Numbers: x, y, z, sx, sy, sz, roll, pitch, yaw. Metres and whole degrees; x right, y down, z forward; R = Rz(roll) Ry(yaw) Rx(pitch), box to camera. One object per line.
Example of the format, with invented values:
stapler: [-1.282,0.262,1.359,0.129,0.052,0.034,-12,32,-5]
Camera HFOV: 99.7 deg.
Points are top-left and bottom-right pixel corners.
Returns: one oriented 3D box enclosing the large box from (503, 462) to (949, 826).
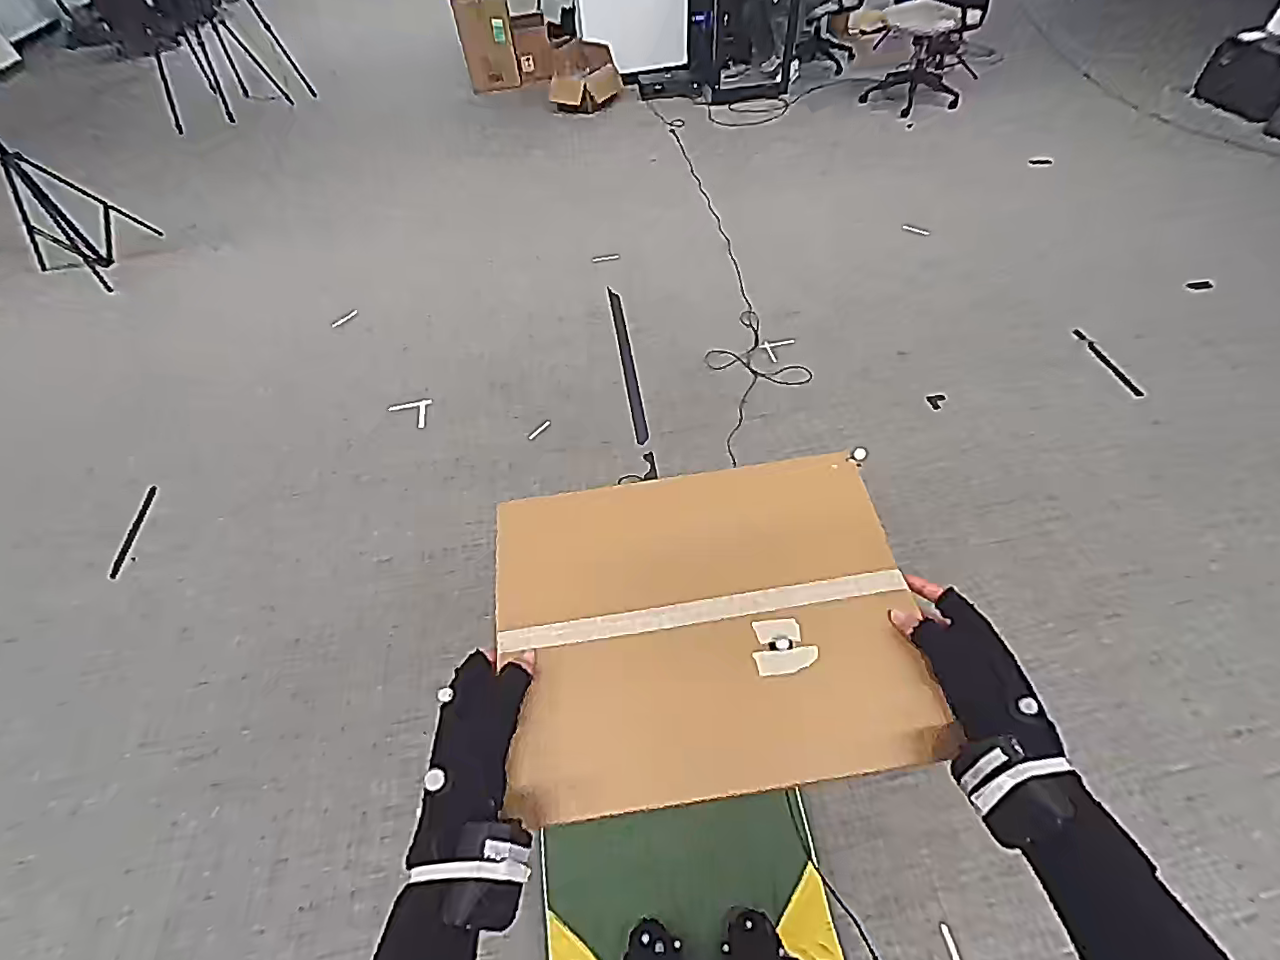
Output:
large box: [0.067,0.215,0.678,0.408,0.320,0.320,-9,60,-2]
